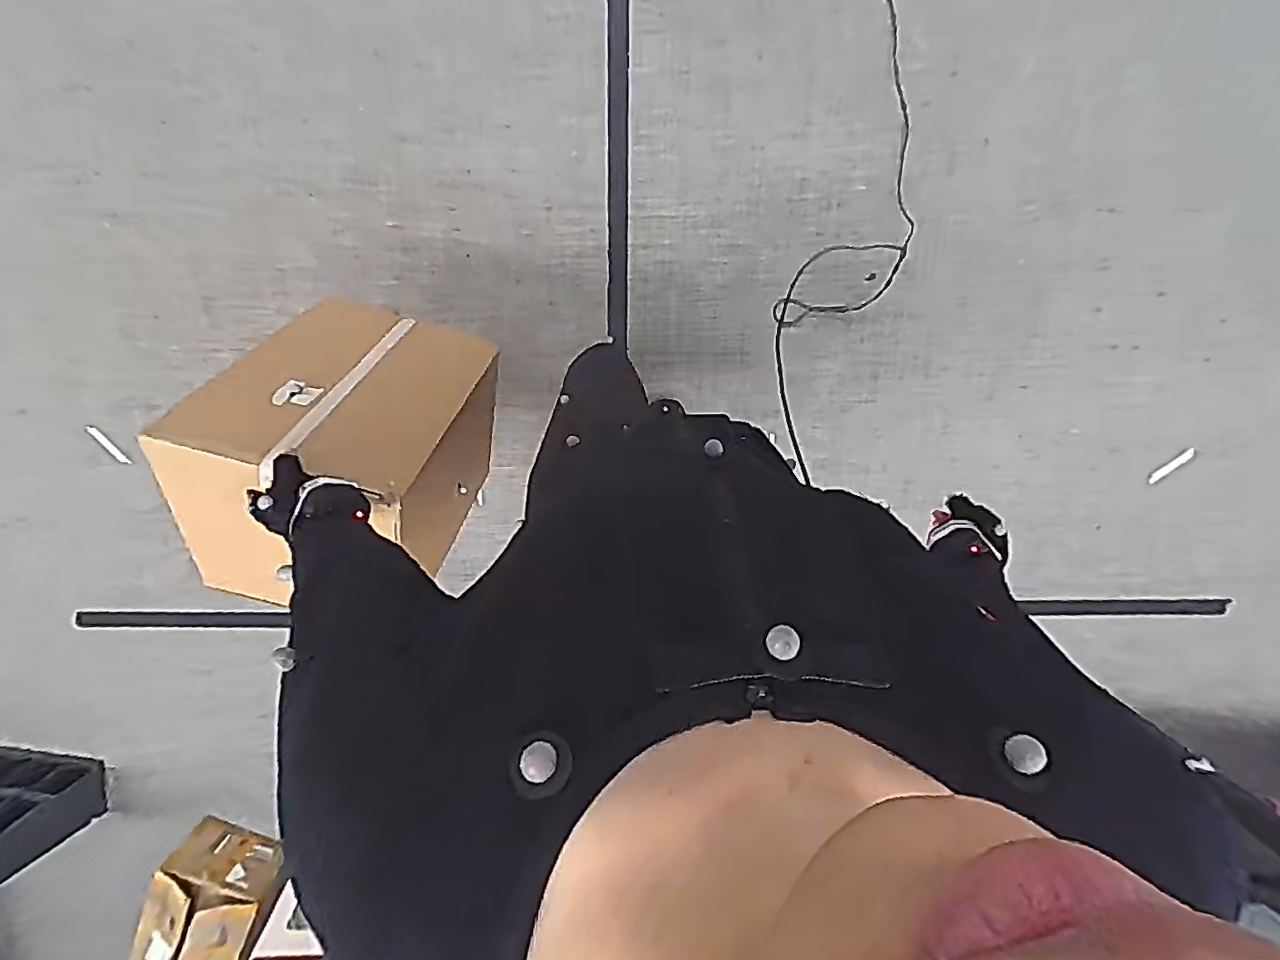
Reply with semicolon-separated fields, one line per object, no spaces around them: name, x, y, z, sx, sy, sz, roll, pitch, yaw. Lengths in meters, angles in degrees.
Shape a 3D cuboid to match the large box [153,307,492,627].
large box;-0.466;-0.030;0.914;0.320;0.408;0.320;14;132;-4
